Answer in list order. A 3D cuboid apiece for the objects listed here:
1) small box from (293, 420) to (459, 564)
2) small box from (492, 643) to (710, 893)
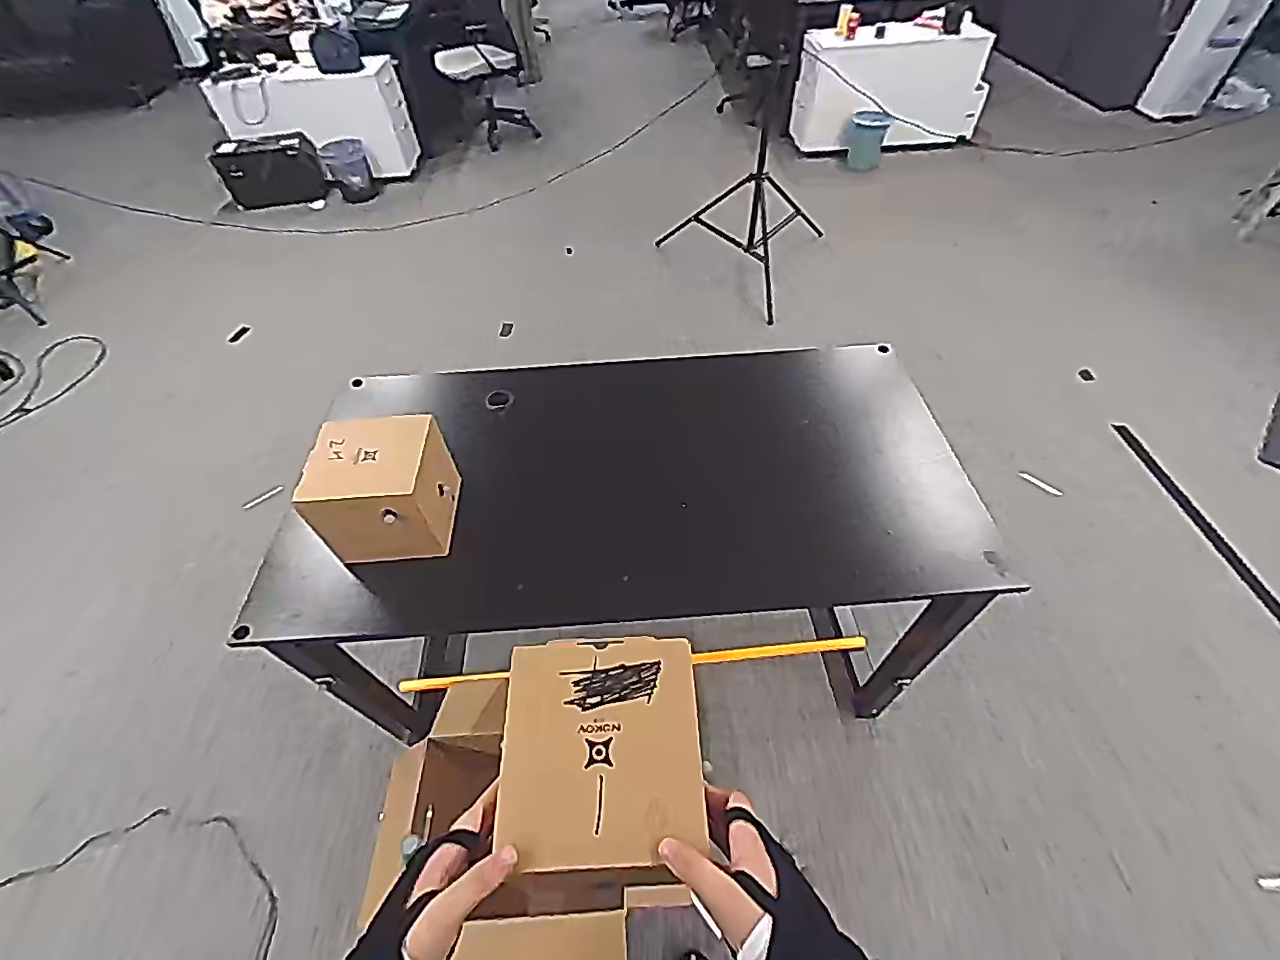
[{"bbox_3d":[-0.409,0.022,0.877,0.179,0.176,0.168,-4,50,-1],"label":"small box"},{"bbox_3d":[-0.030,0.275,0.516,0.168,0.176,0.179,-3,49,0],"label":"small box"}]
